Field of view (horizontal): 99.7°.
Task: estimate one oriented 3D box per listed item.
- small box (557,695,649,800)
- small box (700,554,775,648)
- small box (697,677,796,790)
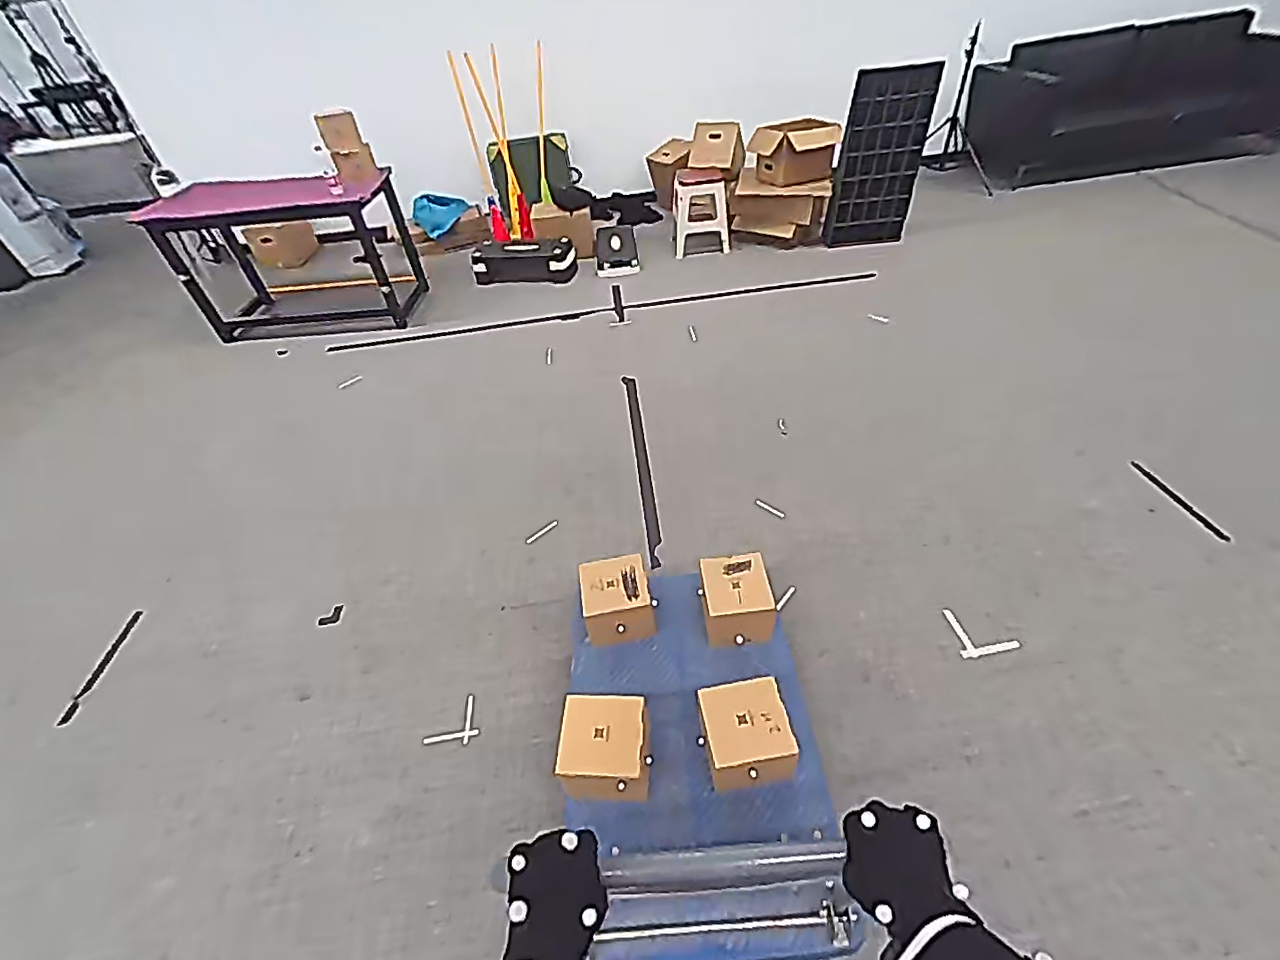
[{"bbox_3d":[-0.074,0.599,1.206,0.179,0.176,0.168,-1,44,5],"label":"small box"},{"bbox_3d":[0.253,0.324,1.446,0.168,0.176,0.179,-7,45,1],"label":"small box"},{"bbox_3d":[0.231,0.566,1.199,0.179,0.176,0.168,-10,44,-2],"label":"small box"}]
